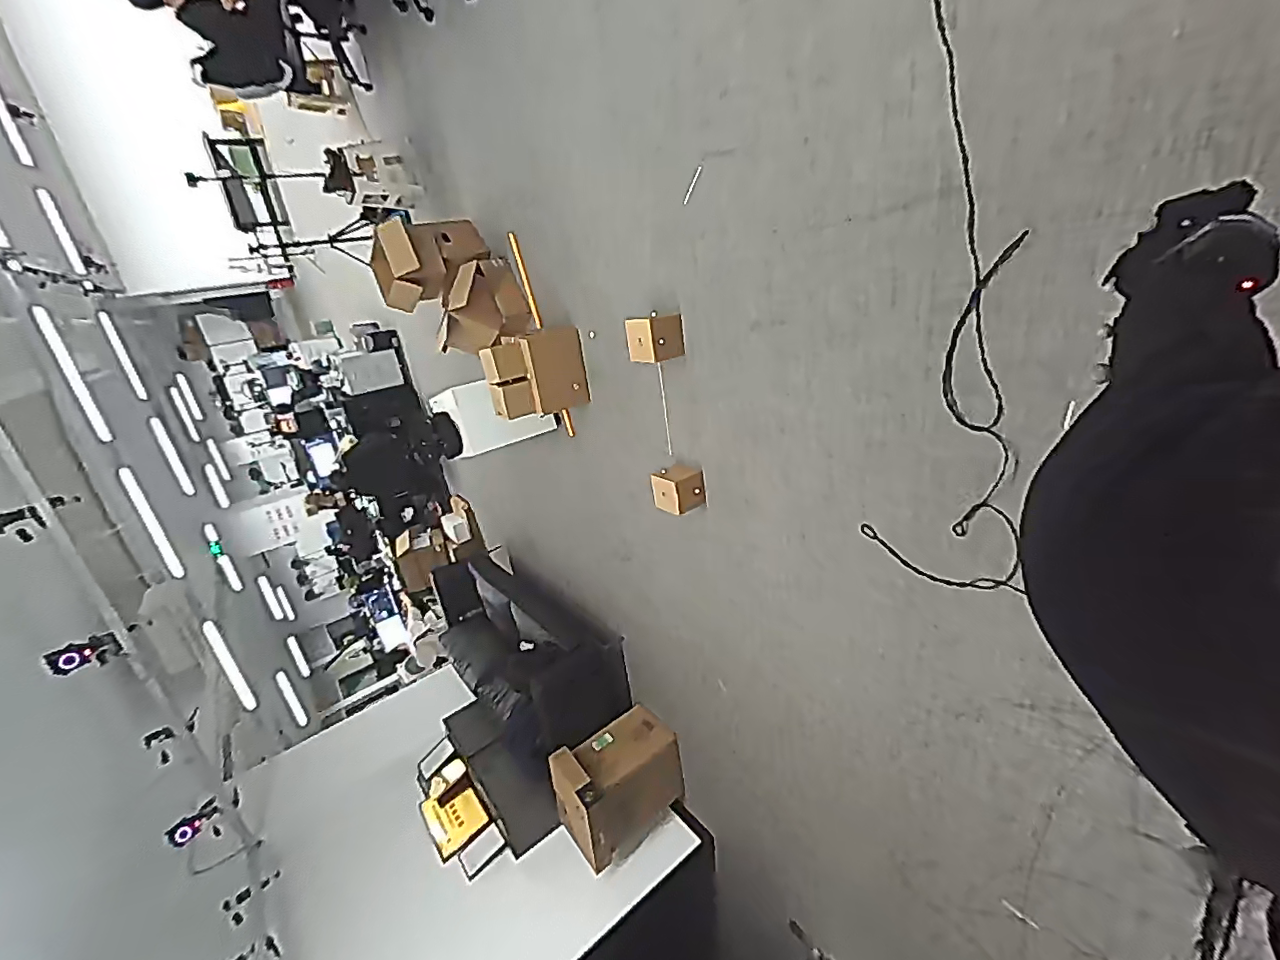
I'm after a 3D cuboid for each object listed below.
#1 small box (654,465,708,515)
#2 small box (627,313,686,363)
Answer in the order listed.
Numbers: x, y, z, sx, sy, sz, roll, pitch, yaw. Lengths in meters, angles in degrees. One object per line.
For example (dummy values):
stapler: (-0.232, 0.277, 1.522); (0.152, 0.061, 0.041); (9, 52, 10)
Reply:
small box: (0.190, 0.038, 2.486); (0.179, 0.176, 0.168); (19, 126, 50)
small box: (0.072, -0.592, 2.245); (0.168, 0.176, 0.179); (19, 126, 50)
